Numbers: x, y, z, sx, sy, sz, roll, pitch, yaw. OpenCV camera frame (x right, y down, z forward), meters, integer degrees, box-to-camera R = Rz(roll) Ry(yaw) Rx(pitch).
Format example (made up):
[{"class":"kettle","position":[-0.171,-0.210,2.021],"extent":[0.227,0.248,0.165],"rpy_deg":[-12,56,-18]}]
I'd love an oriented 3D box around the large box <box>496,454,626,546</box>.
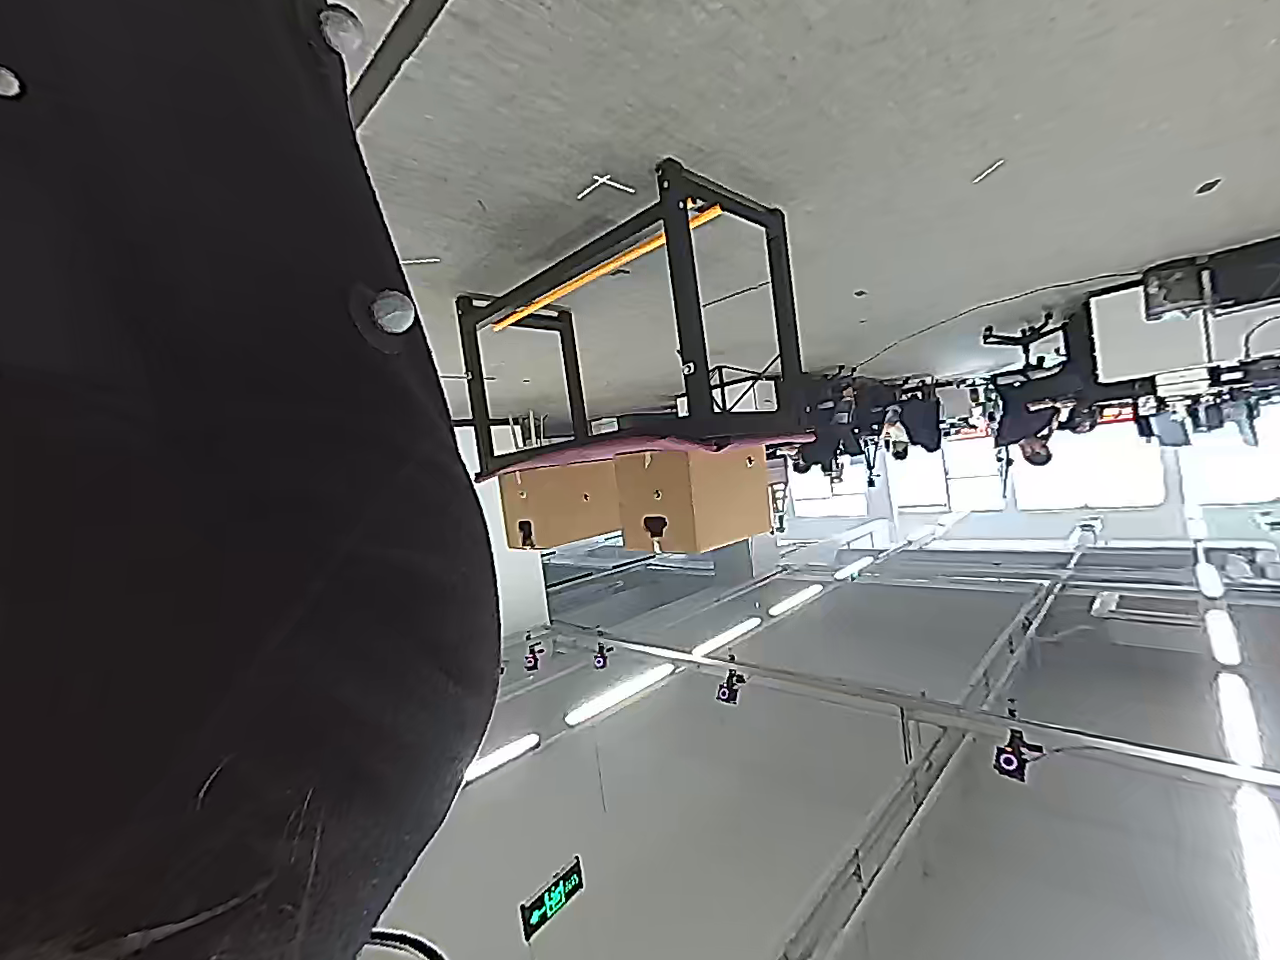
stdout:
[{"class":"large box","position":[-0.327,0.077,2.237],"extent":[0.320,0.320,0.408],"rpy_deg":[-6,-176,44]}]
